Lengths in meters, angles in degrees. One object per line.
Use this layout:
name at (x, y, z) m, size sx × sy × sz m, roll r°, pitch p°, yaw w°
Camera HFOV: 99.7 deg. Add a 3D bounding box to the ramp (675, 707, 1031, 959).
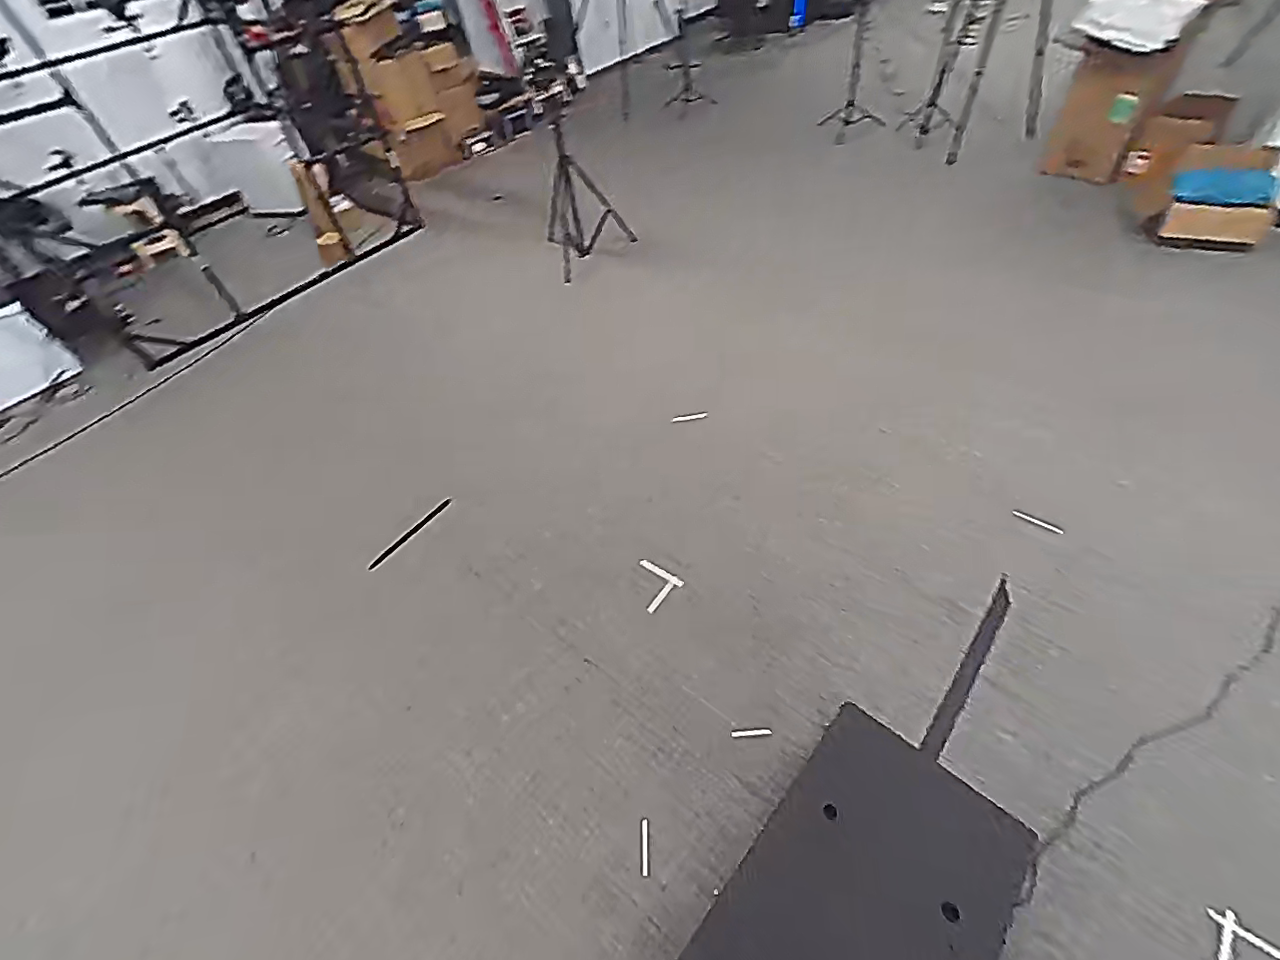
ramp at (0.414, 0.977, 1.127) m, size 0.509 × 0.206 × 0.991 m, roll 29°, pitch 58°, yaw 31°
